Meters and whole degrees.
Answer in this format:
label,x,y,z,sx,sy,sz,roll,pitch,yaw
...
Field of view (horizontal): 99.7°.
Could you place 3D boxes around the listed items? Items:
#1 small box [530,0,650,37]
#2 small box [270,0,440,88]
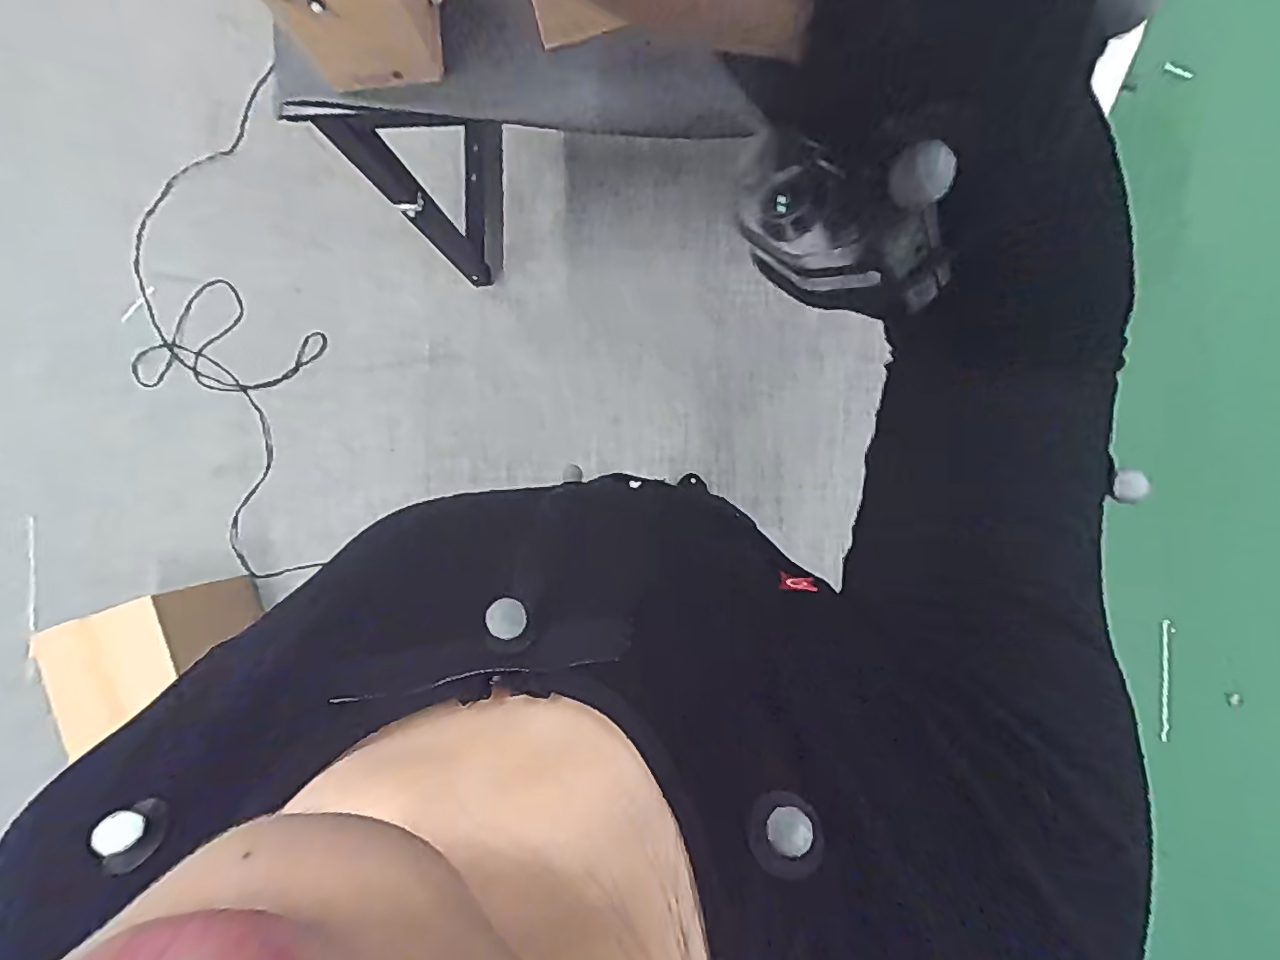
label,x,y,z,sx,sy,sz,roll,pitch,yaw
small box,-0.084,-0.732,0.699,0.179,0.176,0.168,-16,89,2
small box,-0.380,-0.668,0.713,0.168,0.176,0.179,-5,89,2
